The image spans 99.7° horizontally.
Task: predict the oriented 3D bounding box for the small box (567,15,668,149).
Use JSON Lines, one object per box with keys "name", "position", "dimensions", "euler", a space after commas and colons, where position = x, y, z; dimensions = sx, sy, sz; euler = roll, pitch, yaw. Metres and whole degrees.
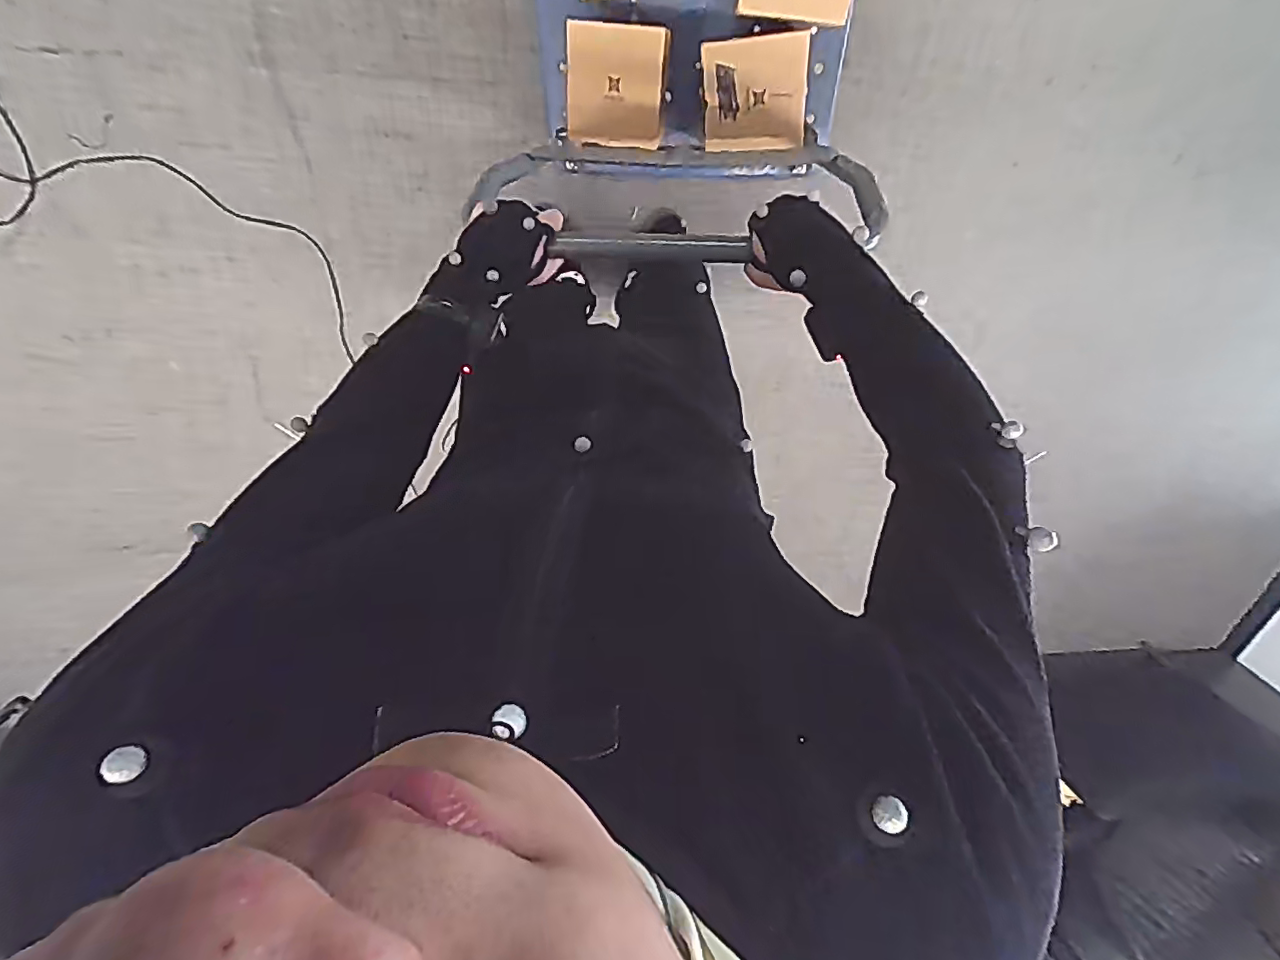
{"name": "small box", "position": [-0.040, -0.731, 0.993], "dimensions": [0.168, 0.176, 0.179], "euler": [7, 131, 1]}
